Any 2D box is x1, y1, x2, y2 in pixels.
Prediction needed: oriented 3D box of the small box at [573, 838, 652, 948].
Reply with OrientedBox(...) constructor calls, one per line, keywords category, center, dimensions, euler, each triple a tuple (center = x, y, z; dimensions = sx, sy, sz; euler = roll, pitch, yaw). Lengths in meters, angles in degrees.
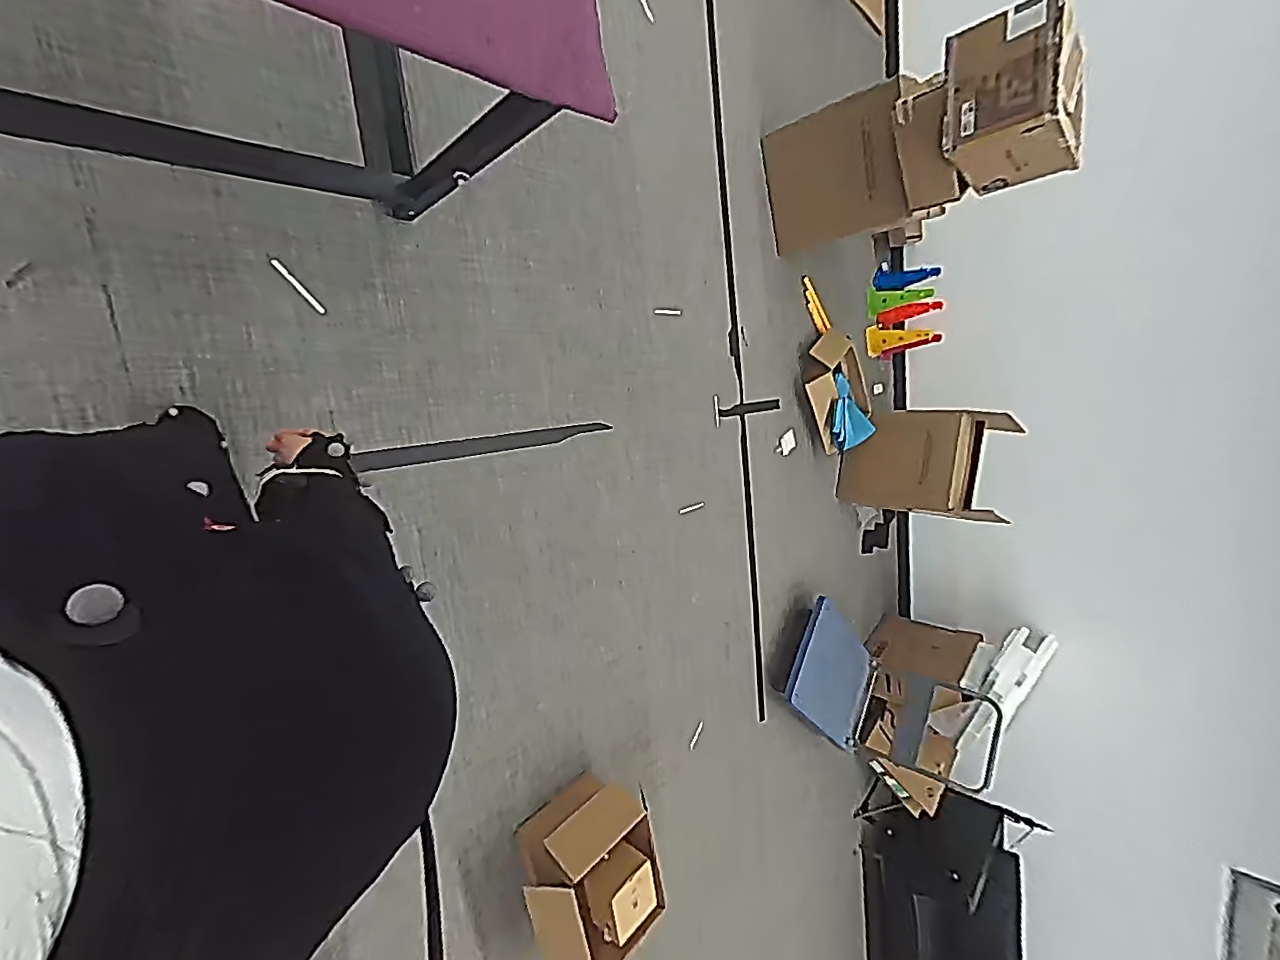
OrientedBox(category="small box", center=(-0.086, 1.270, 1.678), dimensions=(0.168, 0.176, 0.179), euler=(-19, 105, -44))
